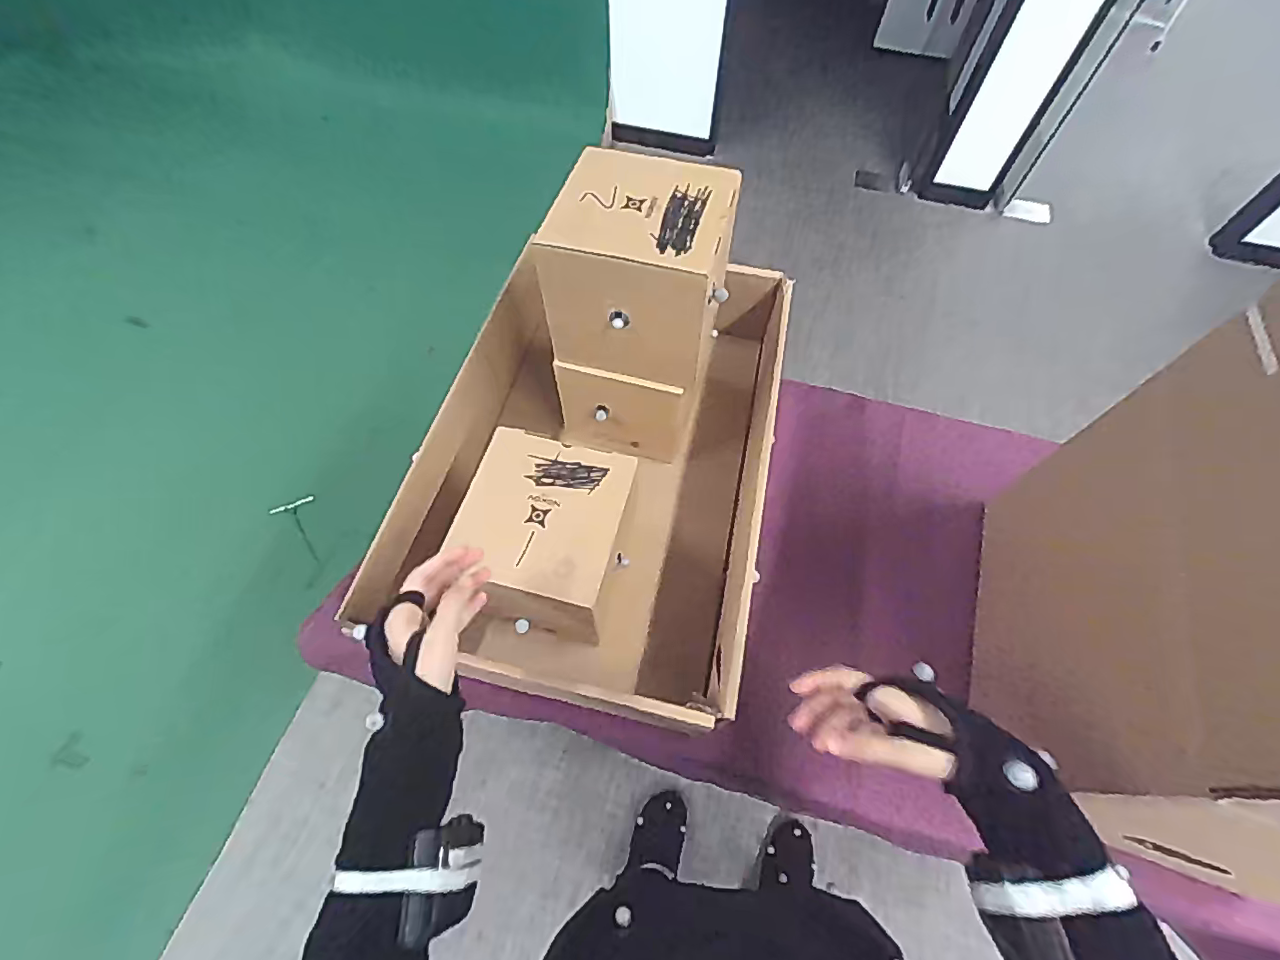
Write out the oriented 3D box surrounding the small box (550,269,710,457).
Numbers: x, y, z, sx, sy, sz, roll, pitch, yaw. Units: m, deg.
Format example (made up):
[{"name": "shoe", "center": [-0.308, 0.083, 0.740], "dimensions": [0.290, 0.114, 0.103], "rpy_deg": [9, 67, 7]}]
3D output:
[{"name": "small box", "center": [-0.007, -0.156, 0.755], "dimensions": [0.168, 0.176, 0.179], "rpy_deg": [15, 63, 8]}]
